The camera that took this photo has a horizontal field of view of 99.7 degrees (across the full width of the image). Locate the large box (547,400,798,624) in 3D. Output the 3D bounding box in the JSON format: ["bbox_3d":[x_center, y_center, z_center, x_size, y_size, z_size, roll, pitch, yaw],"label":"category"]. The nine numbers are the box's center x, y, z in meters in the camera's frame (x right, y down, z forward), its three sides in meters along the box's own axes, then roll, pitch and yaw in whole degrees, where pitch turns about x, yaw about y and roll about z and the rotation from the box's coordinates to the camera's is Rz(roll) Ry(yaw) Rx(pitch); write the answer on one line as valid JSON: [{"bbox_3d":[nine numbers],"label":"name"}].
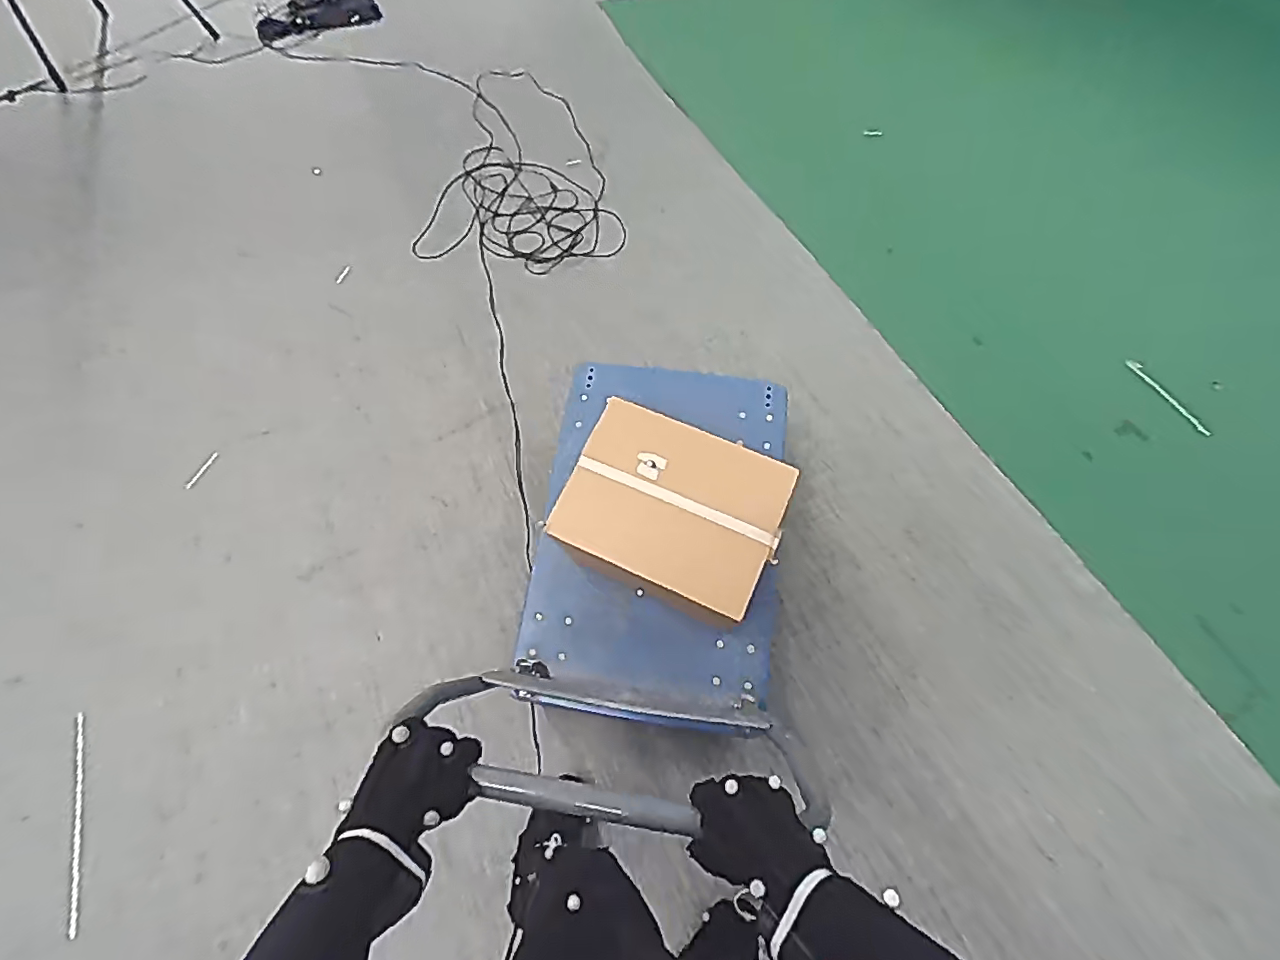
[{"bbox_3d":[0.077,0.085,1.166,0.408,0.320,0.320,23,74,12],"label":"large box"}]
